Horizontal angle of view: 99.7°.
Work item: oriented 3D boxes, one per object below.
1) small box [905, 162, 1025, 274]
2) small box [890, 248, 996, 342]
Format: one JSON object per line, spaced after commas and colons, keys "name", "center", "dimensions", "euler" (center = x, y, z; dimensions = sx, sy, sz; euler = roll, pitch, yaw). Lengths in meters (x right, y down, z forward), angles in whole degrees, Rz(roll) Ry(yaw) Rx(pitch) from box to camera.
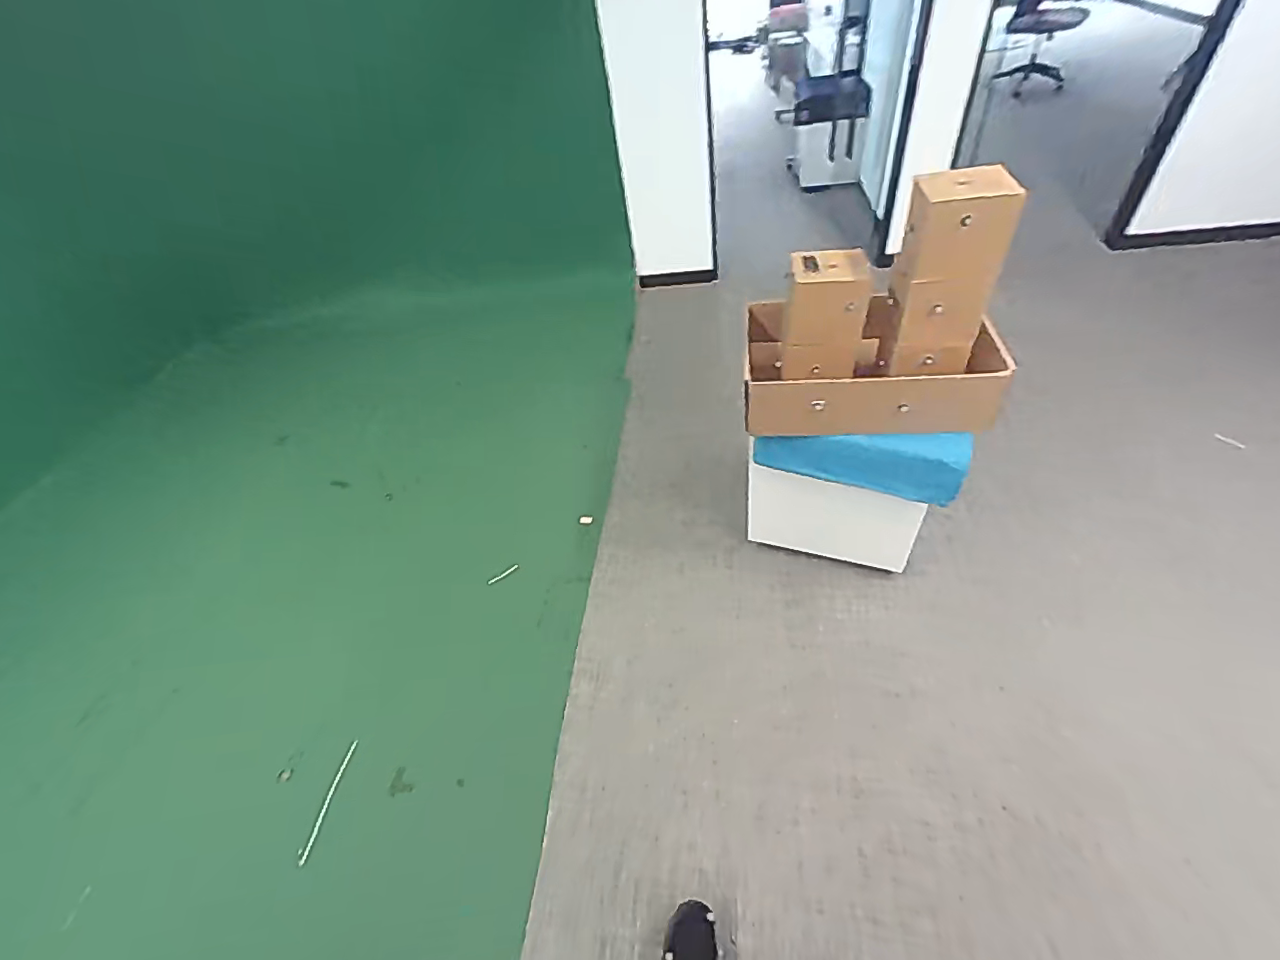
{"name": "small box", "center": [0.688, -0.562, 1.173], "dimensions": [0.179, 0.176, 0.168], "euler": [0, 47, 12]}
{"name": "small box", "center": [0.707, -0.444, 1.287], "dimensions": [0.179, 0.176, 0.168], "euler": [-2, 46, 12]}
